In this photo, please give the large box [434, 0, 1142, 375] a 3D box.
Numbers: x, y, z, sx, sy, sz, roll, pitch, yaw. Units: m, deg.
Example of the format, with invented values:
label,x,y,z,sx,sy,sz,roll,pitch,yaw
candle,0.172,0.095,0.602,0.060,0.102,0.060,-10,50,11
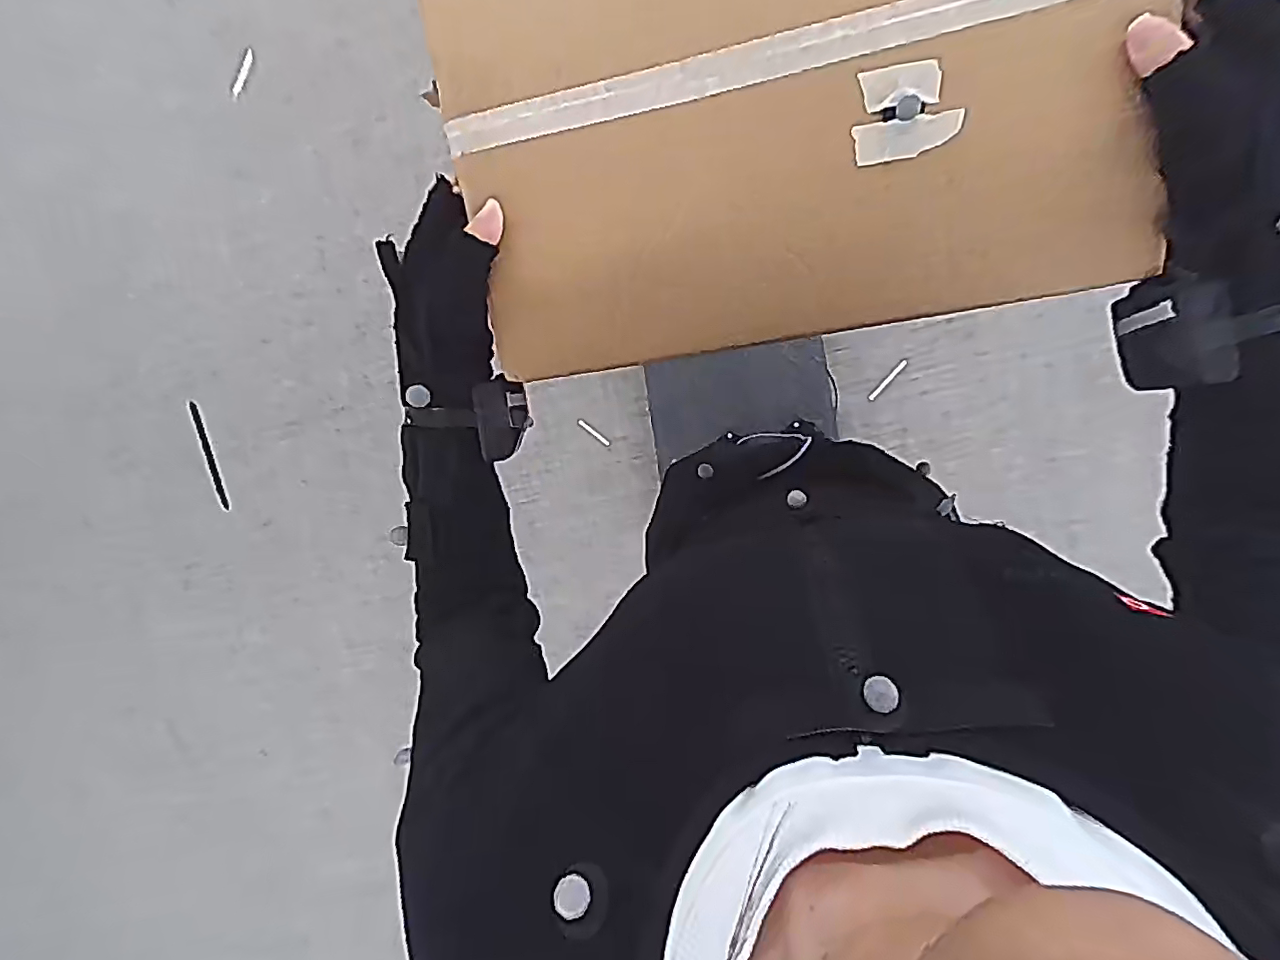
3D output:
label,x,y,z,sx,sy,sz,roll,pitch,yaw
large box,0.096,-0.287,0.469,0.408,0.320,0.320,-8,104,9
